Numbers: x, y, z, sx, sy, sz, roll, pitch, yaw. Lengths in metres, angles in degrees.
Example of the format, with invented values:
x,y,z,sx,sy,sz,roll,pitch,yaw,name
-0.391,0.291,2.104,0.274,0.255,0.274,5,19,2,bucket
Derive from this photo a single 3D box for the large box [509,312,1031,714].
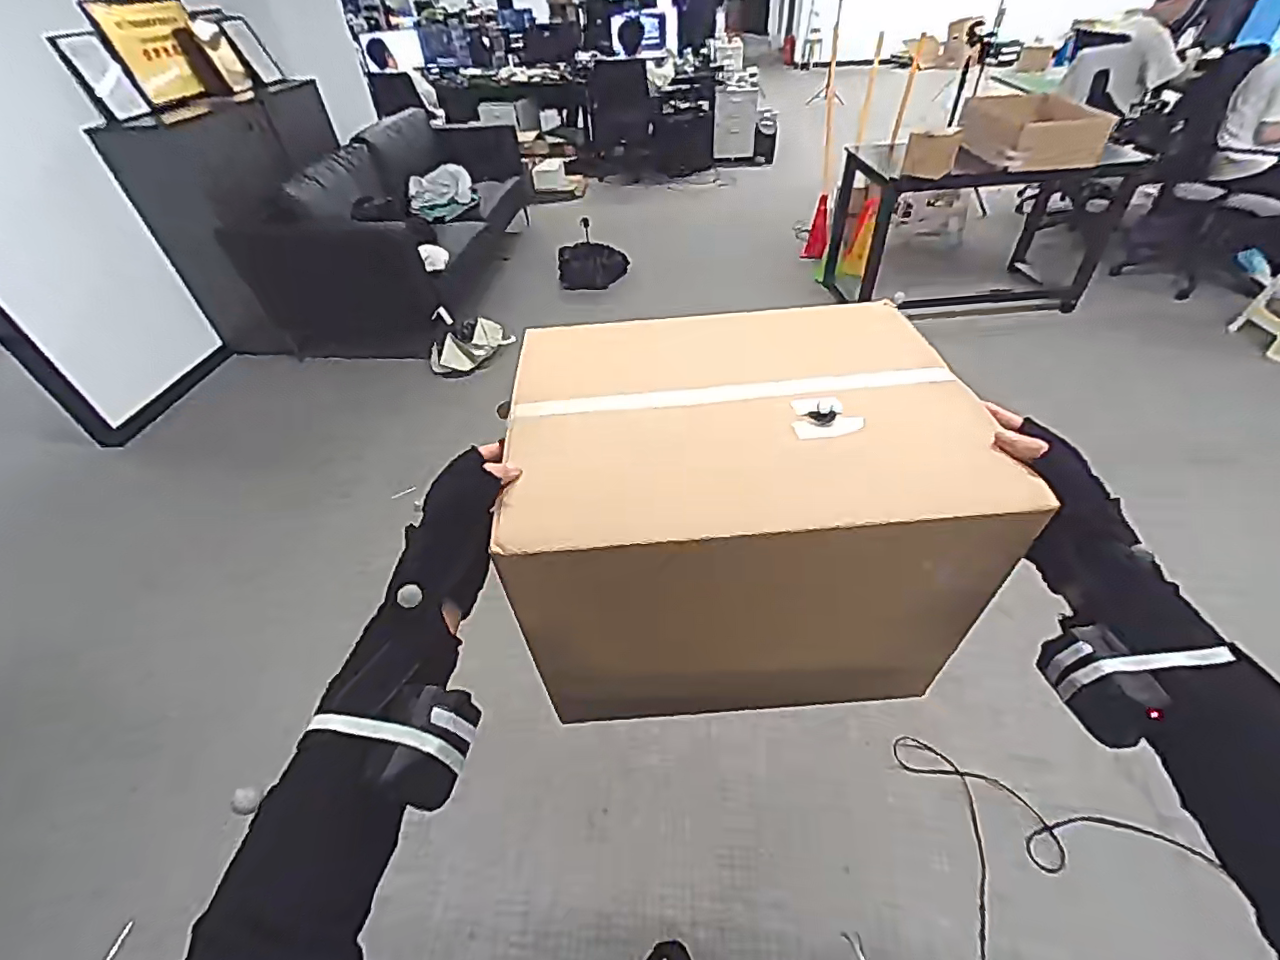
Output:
x,y,z,sx,sy,sz,roll,pitch,yaw,name
0.093,0.036,0.609,0.408,0.320,0.320,-4,45,-1,large box
